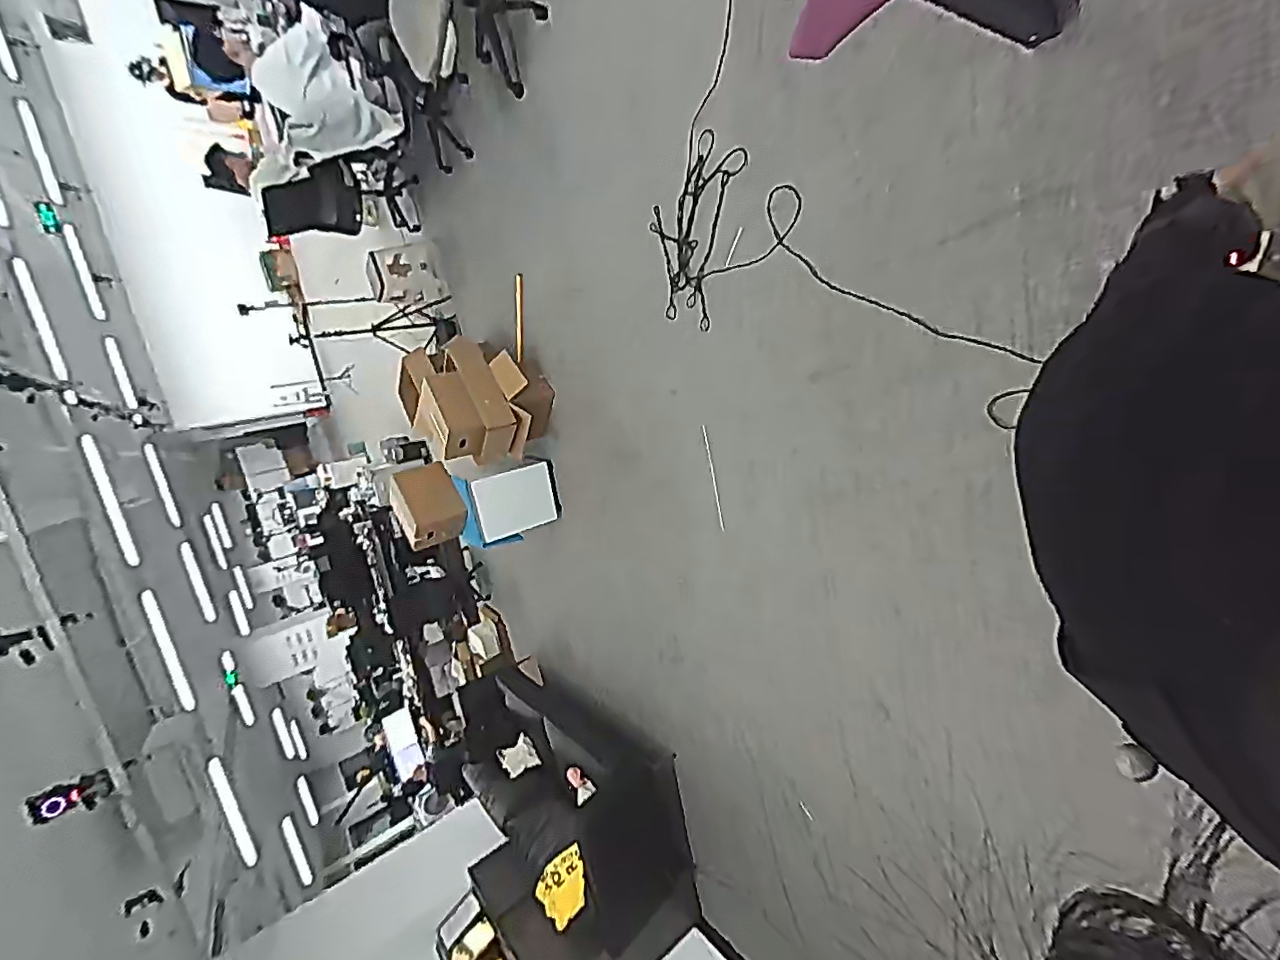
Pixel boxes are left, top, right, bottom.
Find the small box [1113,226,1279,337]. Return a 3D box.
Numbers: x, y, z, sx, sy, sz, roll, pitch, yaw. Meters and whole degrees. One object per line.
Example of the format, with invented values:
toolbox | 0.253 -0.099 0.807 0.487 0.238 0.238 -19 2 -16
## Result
small box | 1.030 -0.372 1.002 0.168 0.176 0.179 27 127 47
